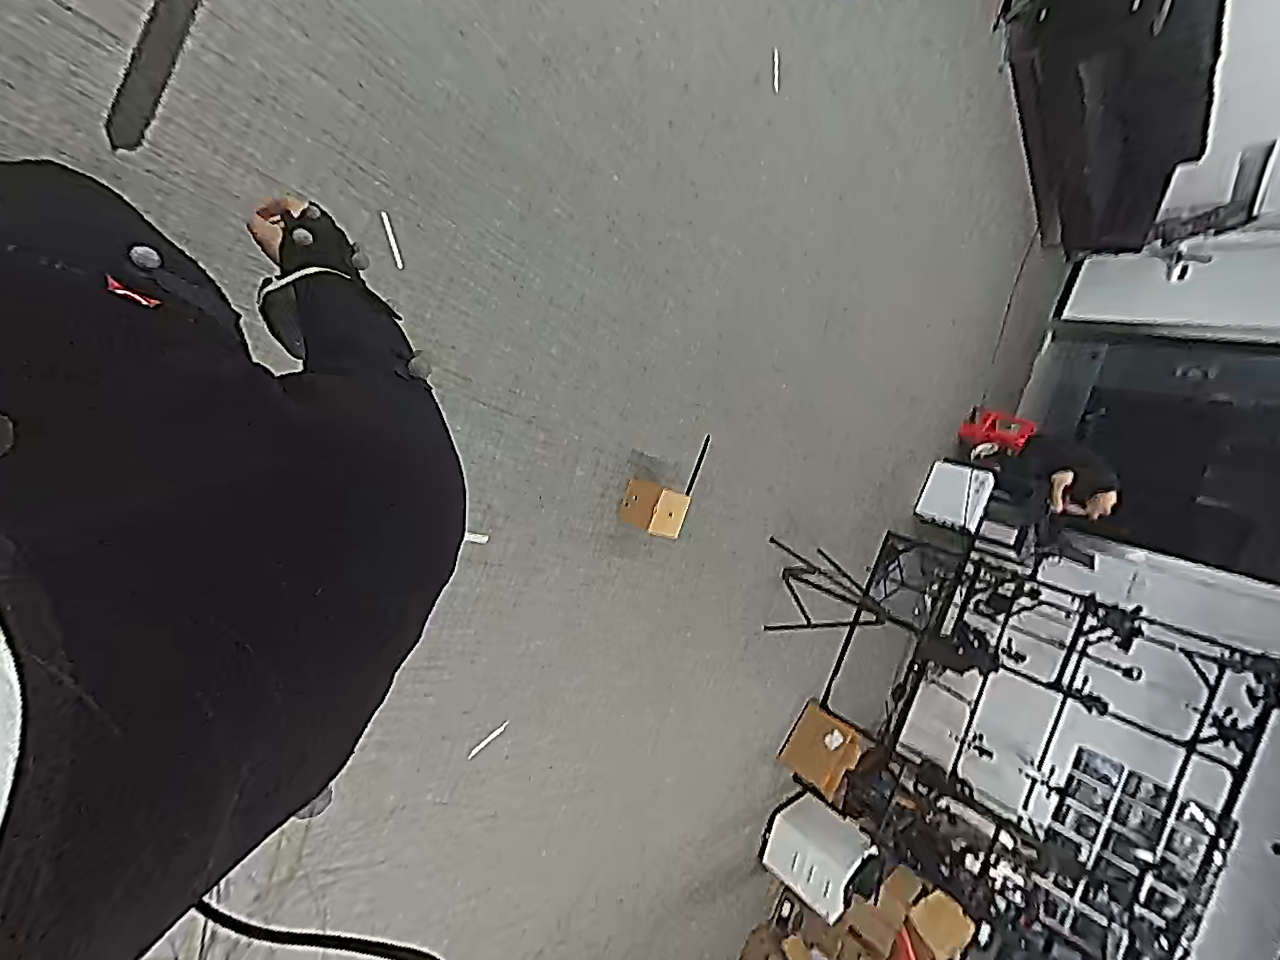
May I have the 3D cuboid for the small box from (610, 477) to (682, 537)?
[{"bbox_3d":[0.021,0.099,2.029,0.179,0.176,0.168,17,93,-47],"label":"small box"}]
